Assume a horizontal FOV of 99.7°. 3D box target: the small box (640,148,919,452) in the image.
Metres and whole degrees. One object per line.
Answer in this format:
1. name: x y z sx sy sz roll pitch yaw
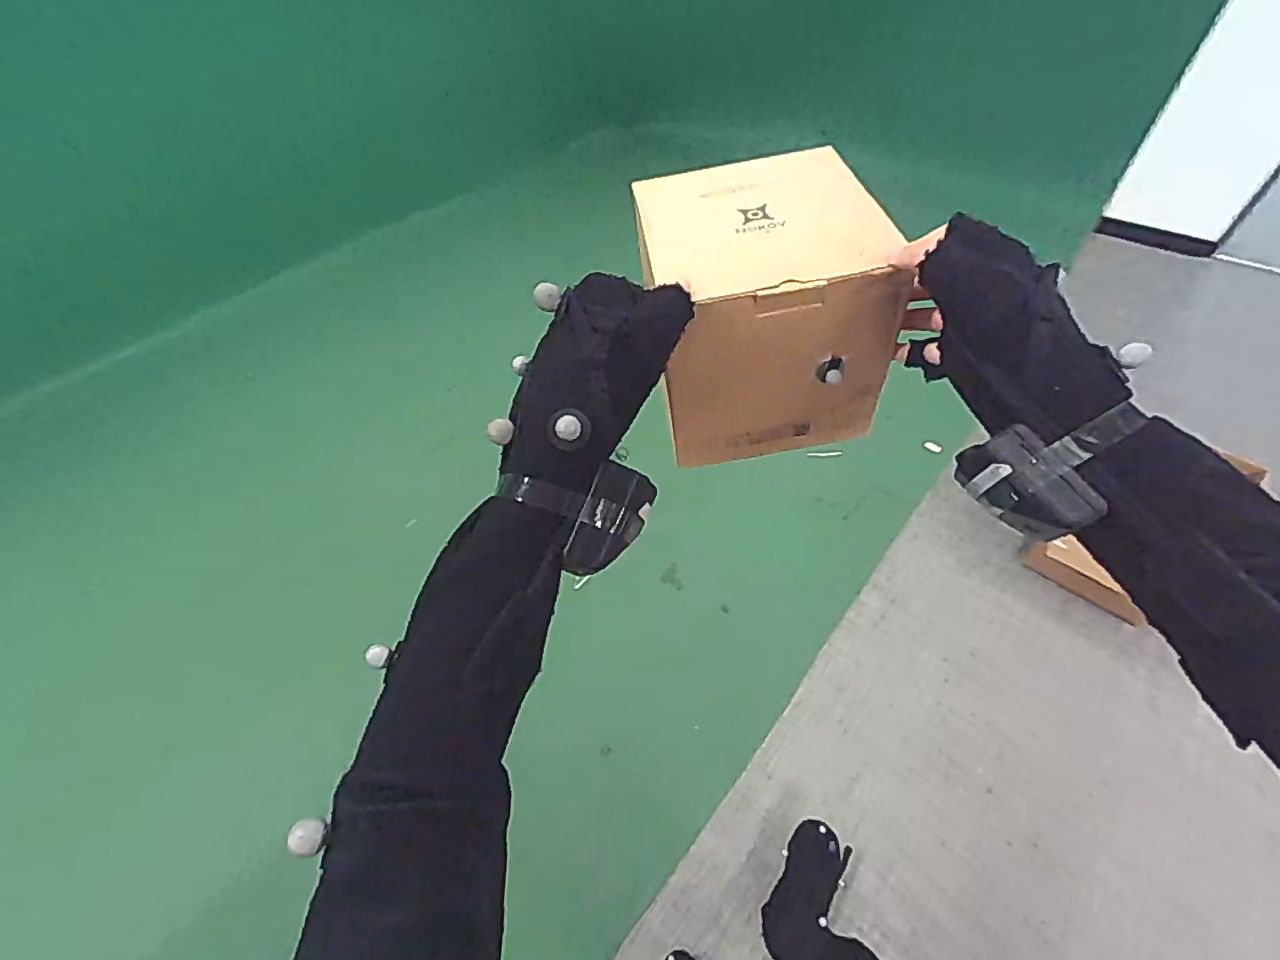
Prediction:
1. small box: 0.099 -0.139 0.452 0.168 0.176 0.179 -9 52 2
